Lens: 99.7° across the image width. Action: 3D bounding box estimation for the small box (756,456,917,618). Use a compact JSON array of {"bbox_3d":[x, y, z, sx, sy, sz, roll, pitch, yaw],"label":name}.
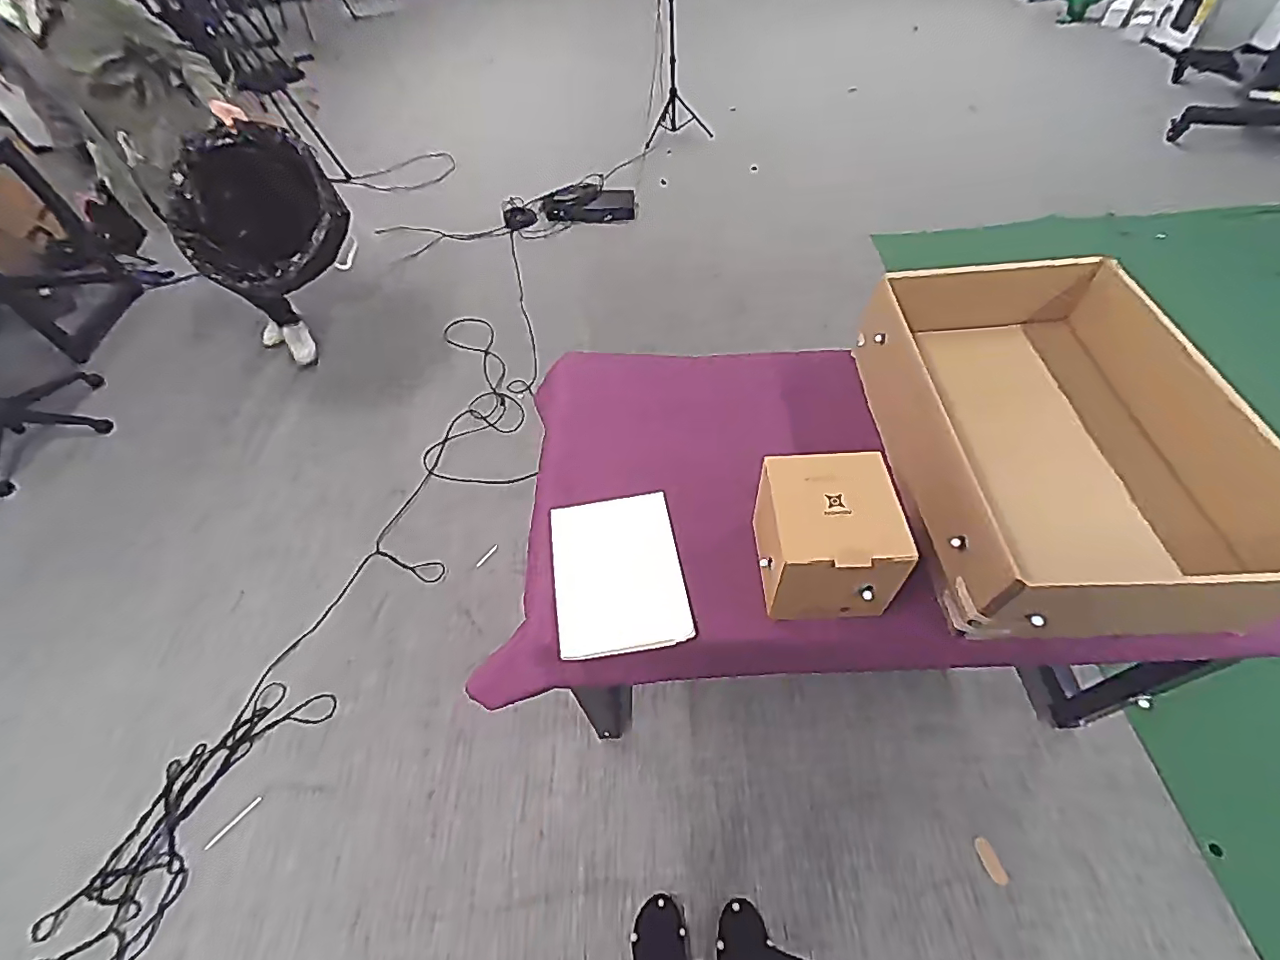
[{"bbox_3d":[0.264,0.087,0.774,0.168,0.176,0.179,-2,51,3],"label":"small box"}]
